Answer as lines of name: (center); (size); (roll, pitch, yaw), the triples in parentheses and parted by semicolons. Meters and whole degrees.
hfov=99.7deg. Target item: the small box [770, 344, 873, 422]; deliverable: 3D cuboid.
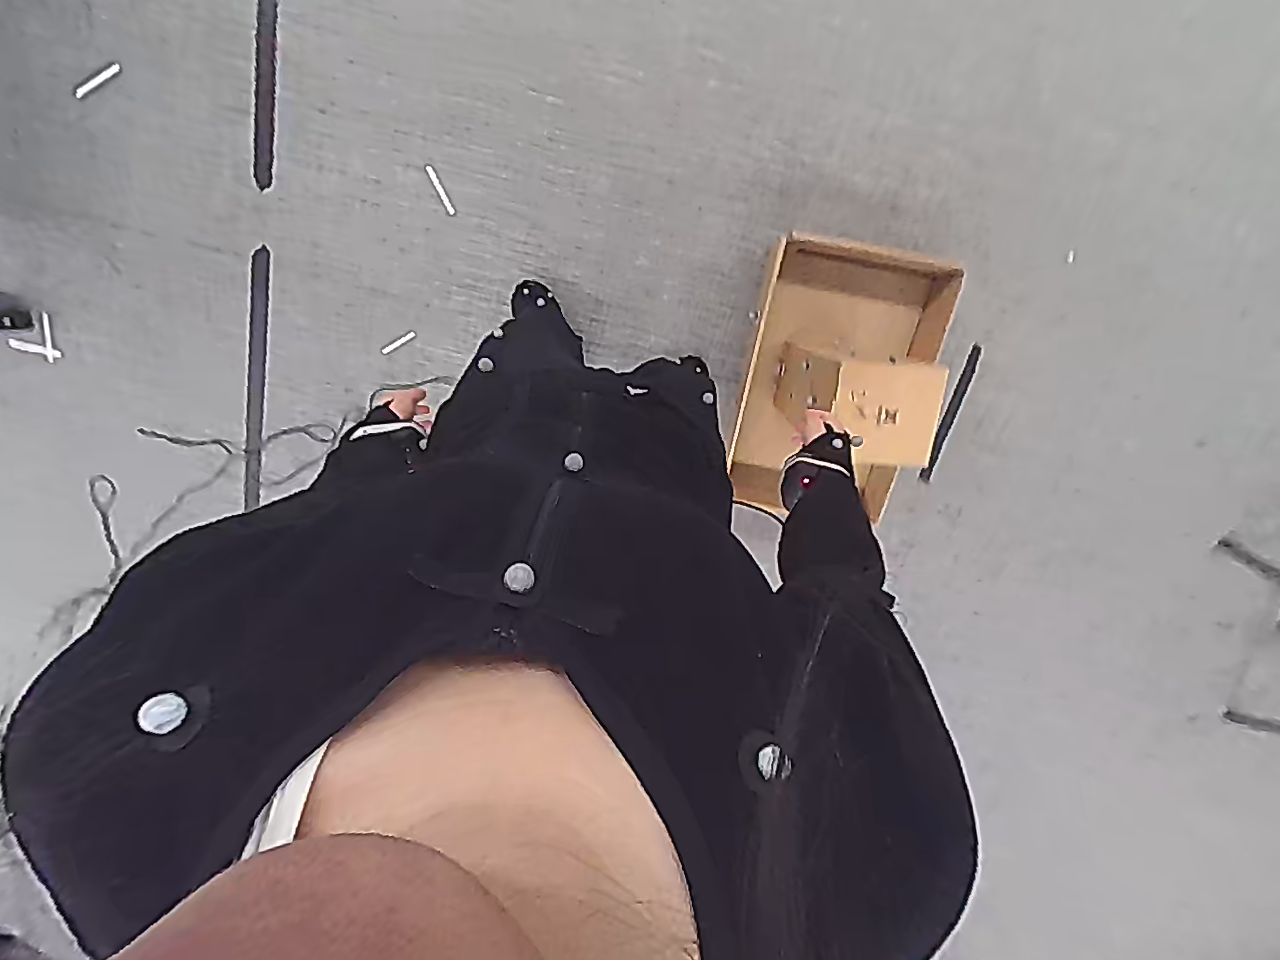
small box: (0.422, -0.230, 1.286); (0.179, 0.176, 0.168); (7, 108, 2)

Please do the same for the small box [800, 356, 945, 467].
small box: (0.404, -0.130, 0.972); (0.179, 0.176, 0.168); (4, 107, 2)
